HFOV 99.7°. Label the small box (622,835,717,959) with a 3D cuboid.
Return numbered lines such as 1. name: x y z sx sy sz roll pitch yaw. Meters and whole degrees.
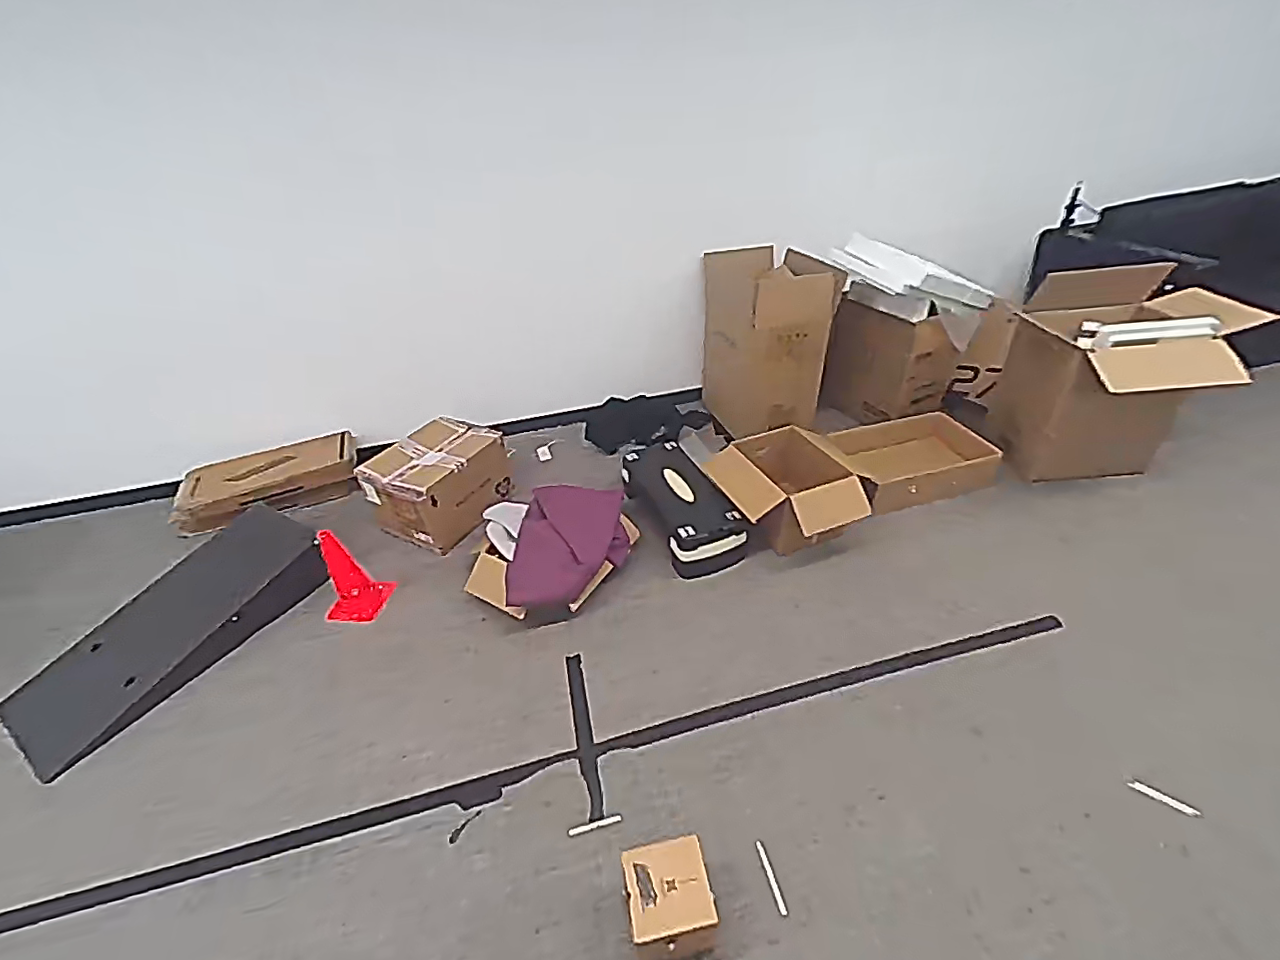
1. small box: 0.064 0.923 1.189 0.179 0.176 0.168 -9 36 -7
